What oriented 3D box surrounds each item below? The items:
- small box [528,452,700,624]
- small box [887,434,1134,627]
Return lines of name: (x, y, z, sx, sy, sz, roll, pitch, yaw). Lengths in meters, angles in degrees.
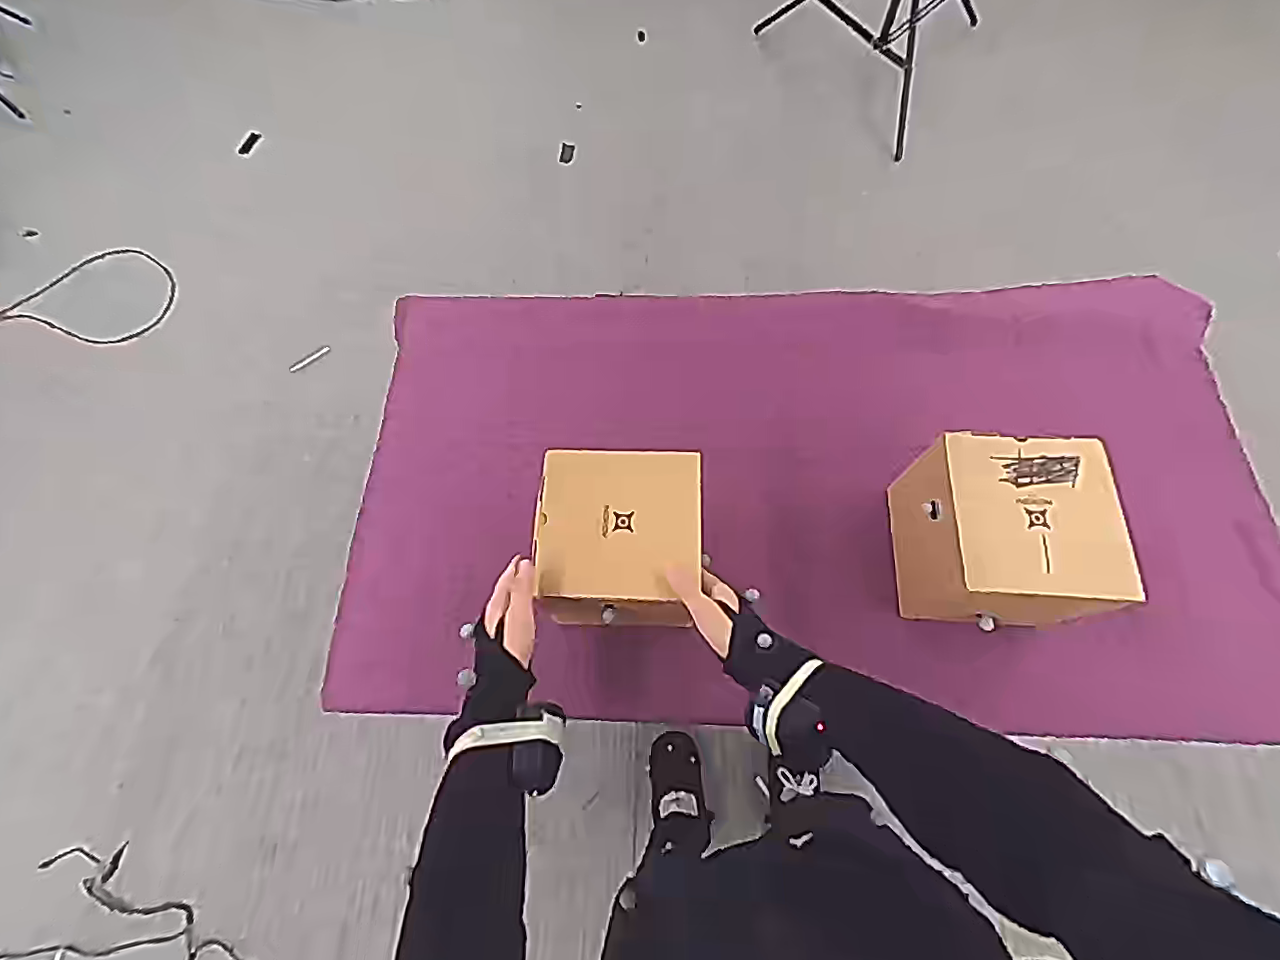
small box: (-0.022, 0.076, 0.647, 0.179, 0.176, 0.168, 0, 67, 4)
small box: (0.403, 0.065, 0.629, 0.168, 0.176, 0.179, 3, 68, 5)
